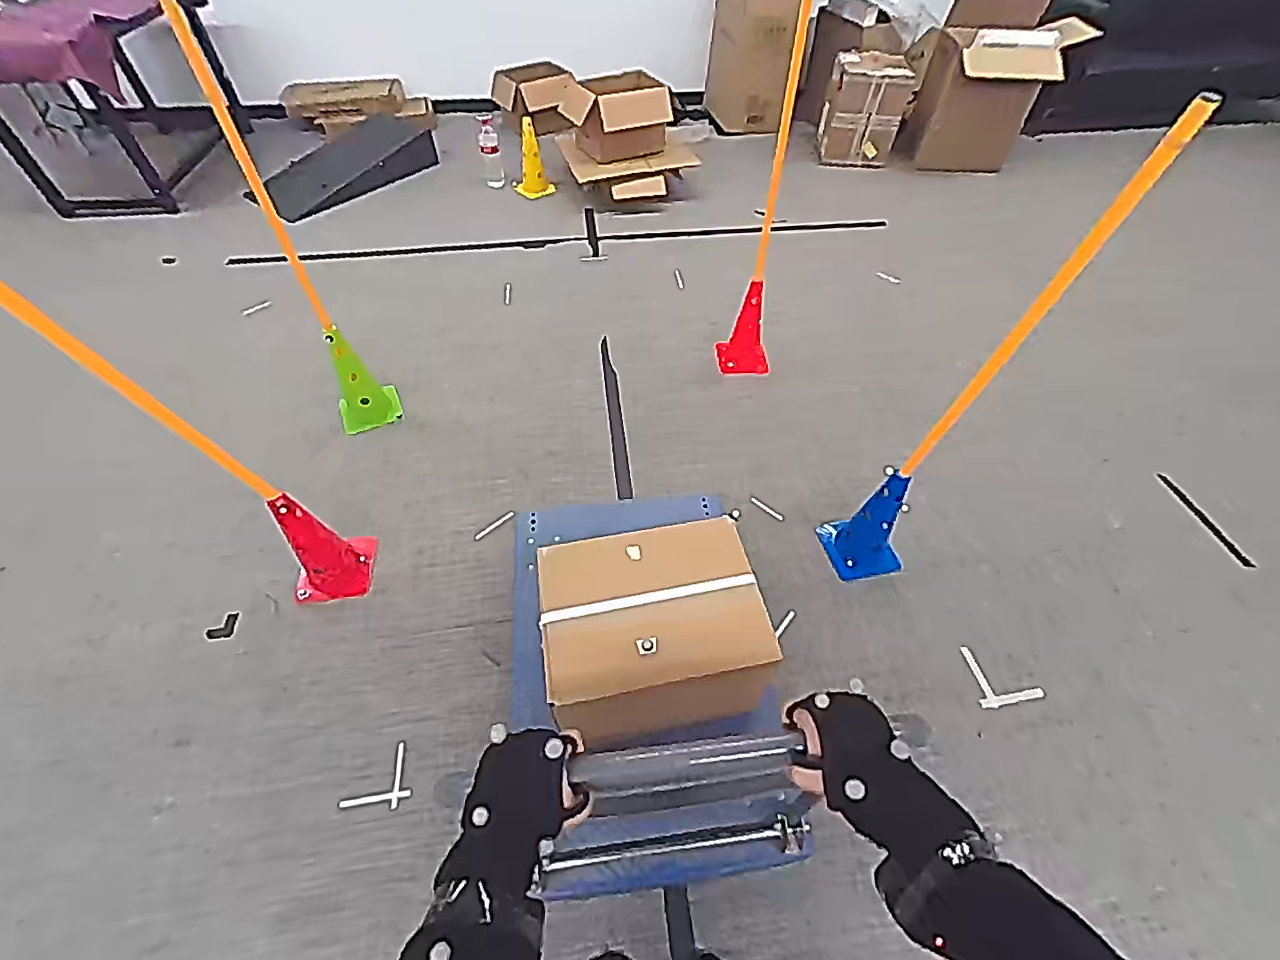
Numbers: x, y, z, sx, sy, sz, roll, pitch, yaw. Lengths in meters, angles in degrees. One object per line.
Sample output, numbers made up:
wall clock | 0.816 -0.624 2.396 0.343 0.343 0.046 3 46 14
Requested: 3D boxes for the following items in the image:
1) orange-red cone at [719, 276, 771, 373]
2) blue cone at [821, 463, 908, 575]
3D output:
orange-red cone | 0.428 -0.603 2.052 0.199 0.360 0.198 1 52 -2
blue cone | 0.669 0.096 1.520 0.193 0.380 0.192 -8 51 -8
